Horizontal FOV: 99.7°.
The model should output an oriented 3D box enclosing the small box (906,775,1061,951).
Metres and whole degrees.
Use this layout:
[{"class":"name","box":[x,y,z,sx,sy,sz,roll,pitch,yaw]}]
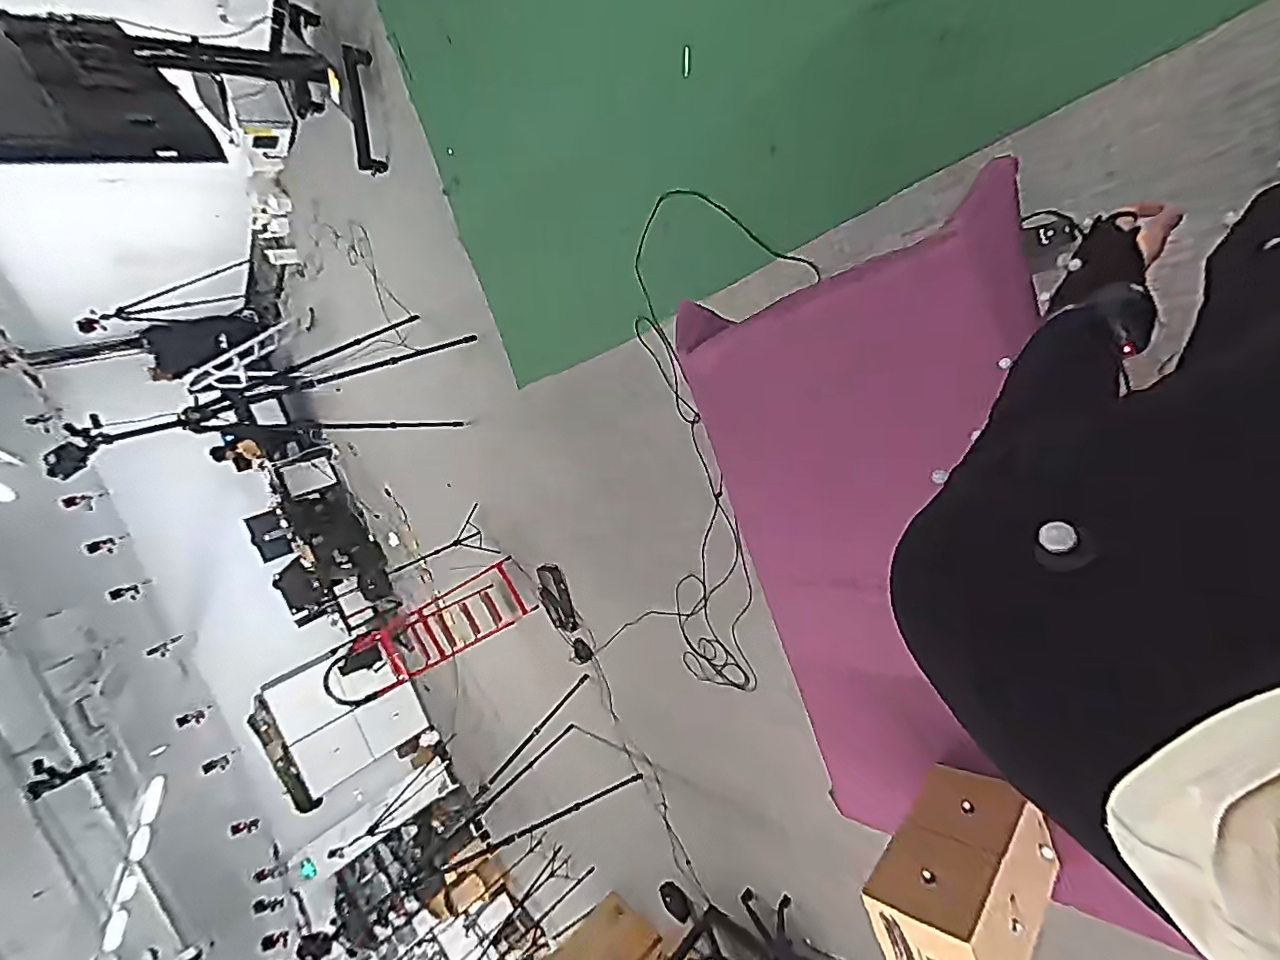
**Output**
[{"class":"small box","box":[0.623,0.674,0.981,0.179,0.176,0.168,-16,98,50]}]
